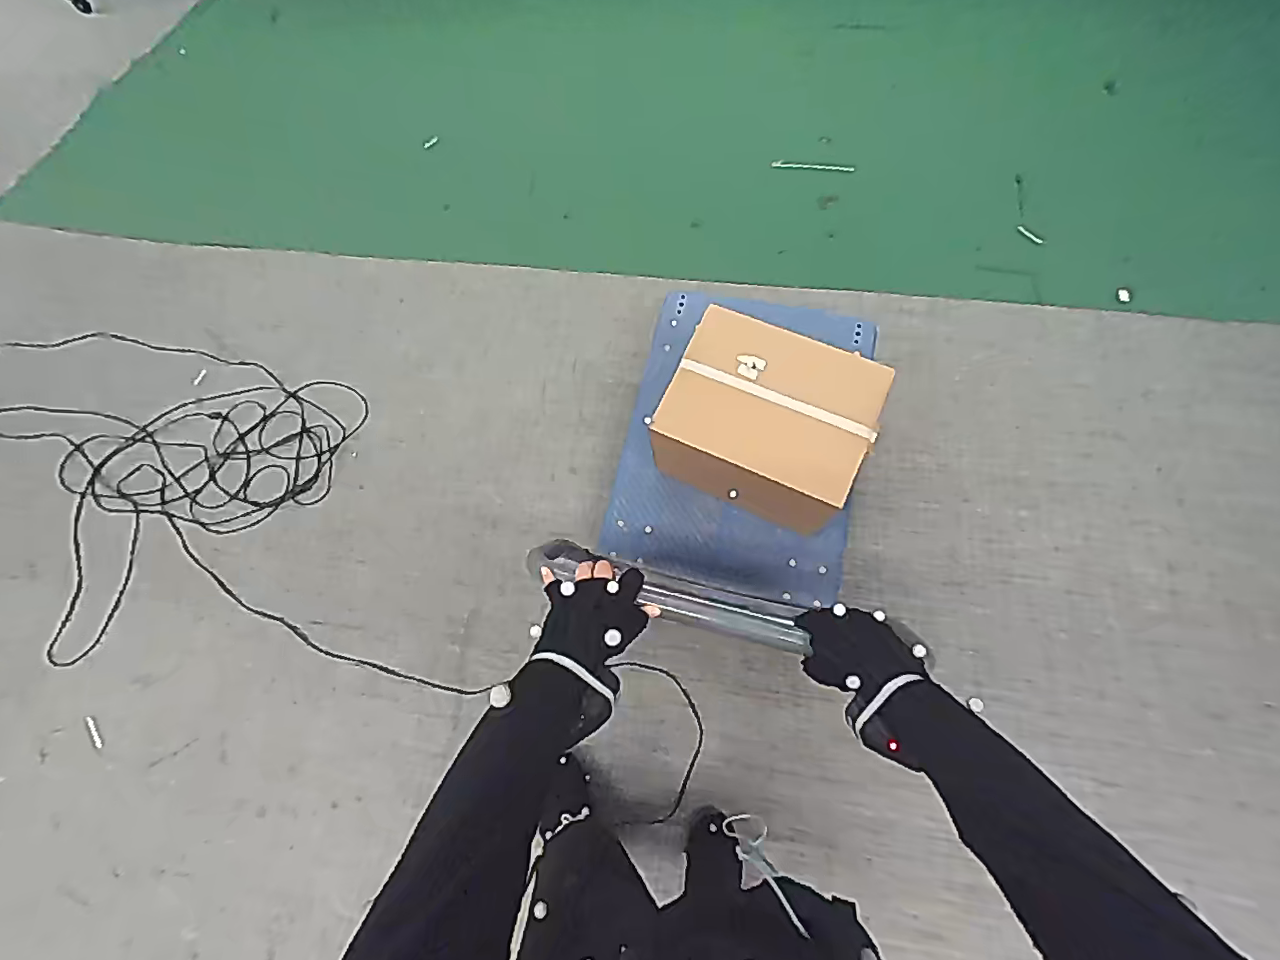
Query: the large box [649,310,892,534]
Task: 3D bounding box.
[{"bbox_3d":[0.277,-0.114,1.218,0.408,0.320,0.320,24,77,13],"label":"large box"}]
